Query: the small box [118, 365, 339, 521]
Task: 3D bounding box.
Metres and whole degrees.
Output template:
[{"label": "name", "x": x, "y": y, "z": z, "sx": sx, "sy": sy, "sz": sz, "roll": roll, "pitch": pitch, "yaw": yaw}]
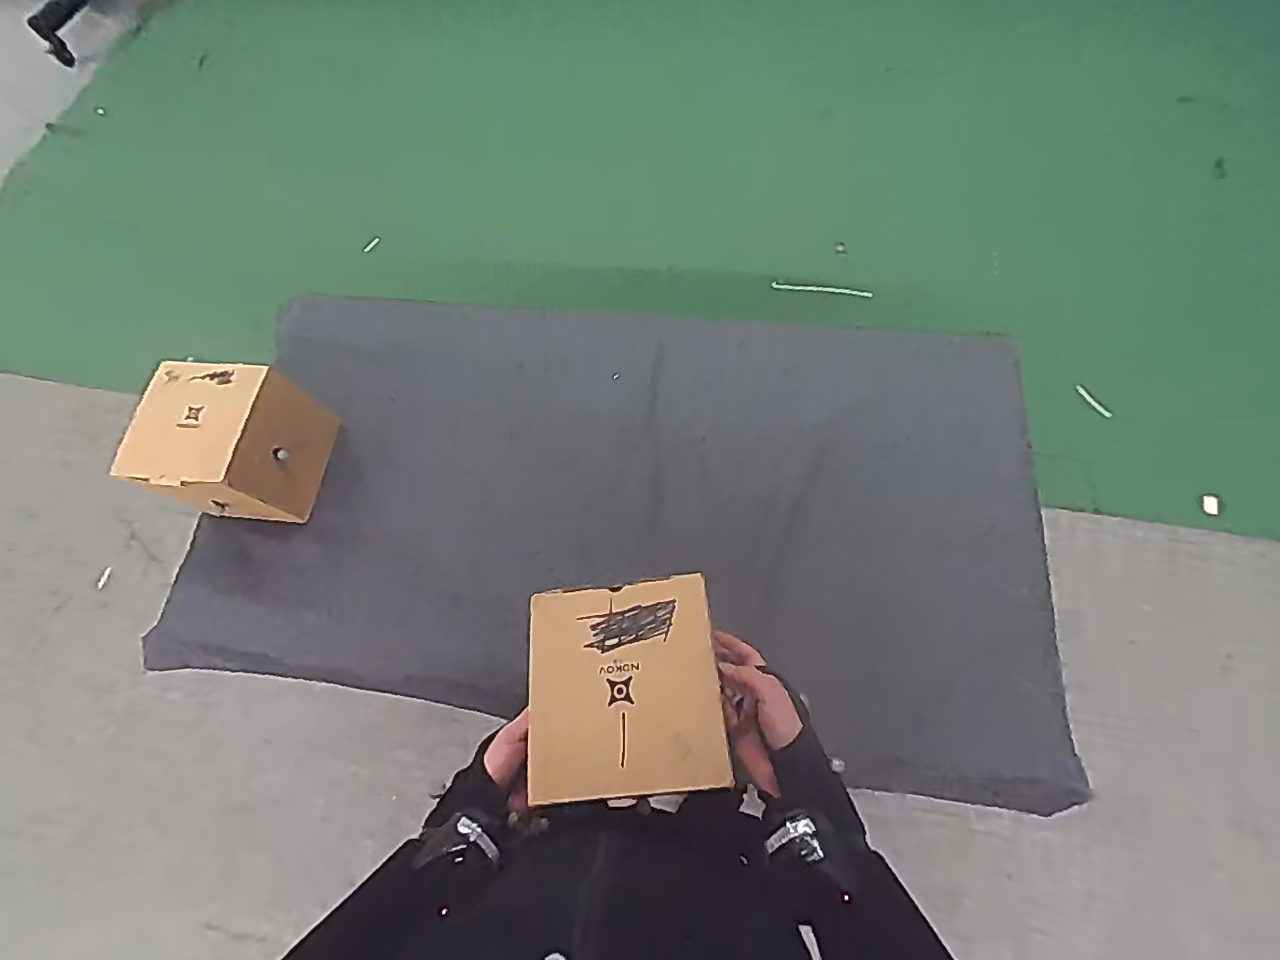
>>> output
[{"label": "small box", "x": -0.577, "y": -0.046, "z": 0.789, "sx": 0.168, "sy": 0.176, "sz": 0.179, "roll": 5, "pitch": 71, "yaw": 6}]
